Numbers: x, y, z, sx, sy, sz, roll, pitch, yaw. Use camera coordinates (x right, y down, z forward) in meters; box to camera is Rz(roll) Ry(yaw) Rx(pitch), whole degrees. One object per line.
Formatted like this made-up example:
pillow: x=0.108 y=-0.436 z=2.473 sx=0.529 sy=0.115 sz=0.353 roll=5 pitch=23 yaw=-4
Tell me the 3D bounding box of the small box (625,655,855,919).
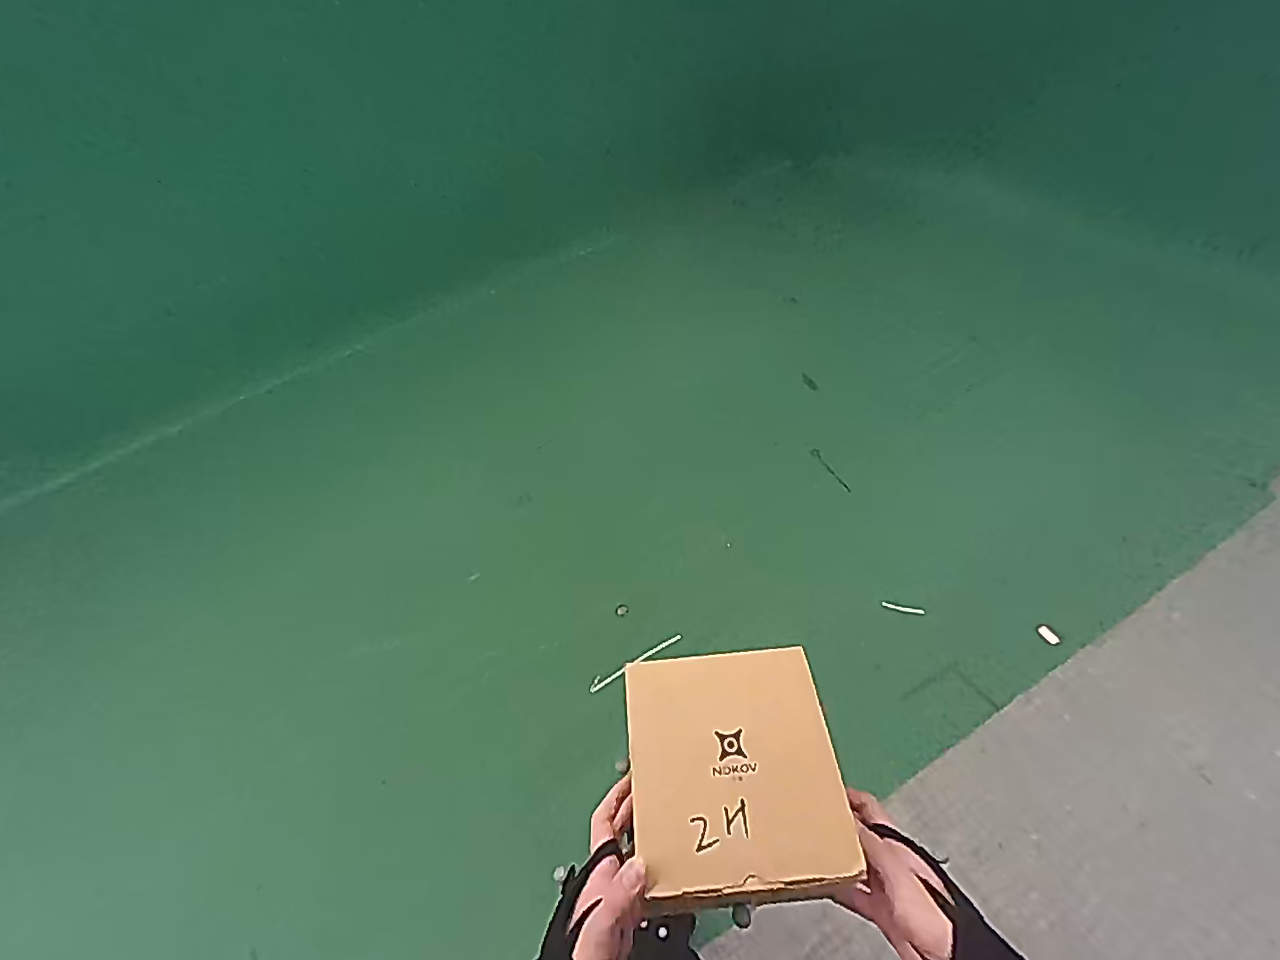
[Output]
small box: x=0.074 y=0.287 z=0.505 sx=0.168 sy=0.176 sz=0.179 roll=-5 pitch=48 yaw=0
